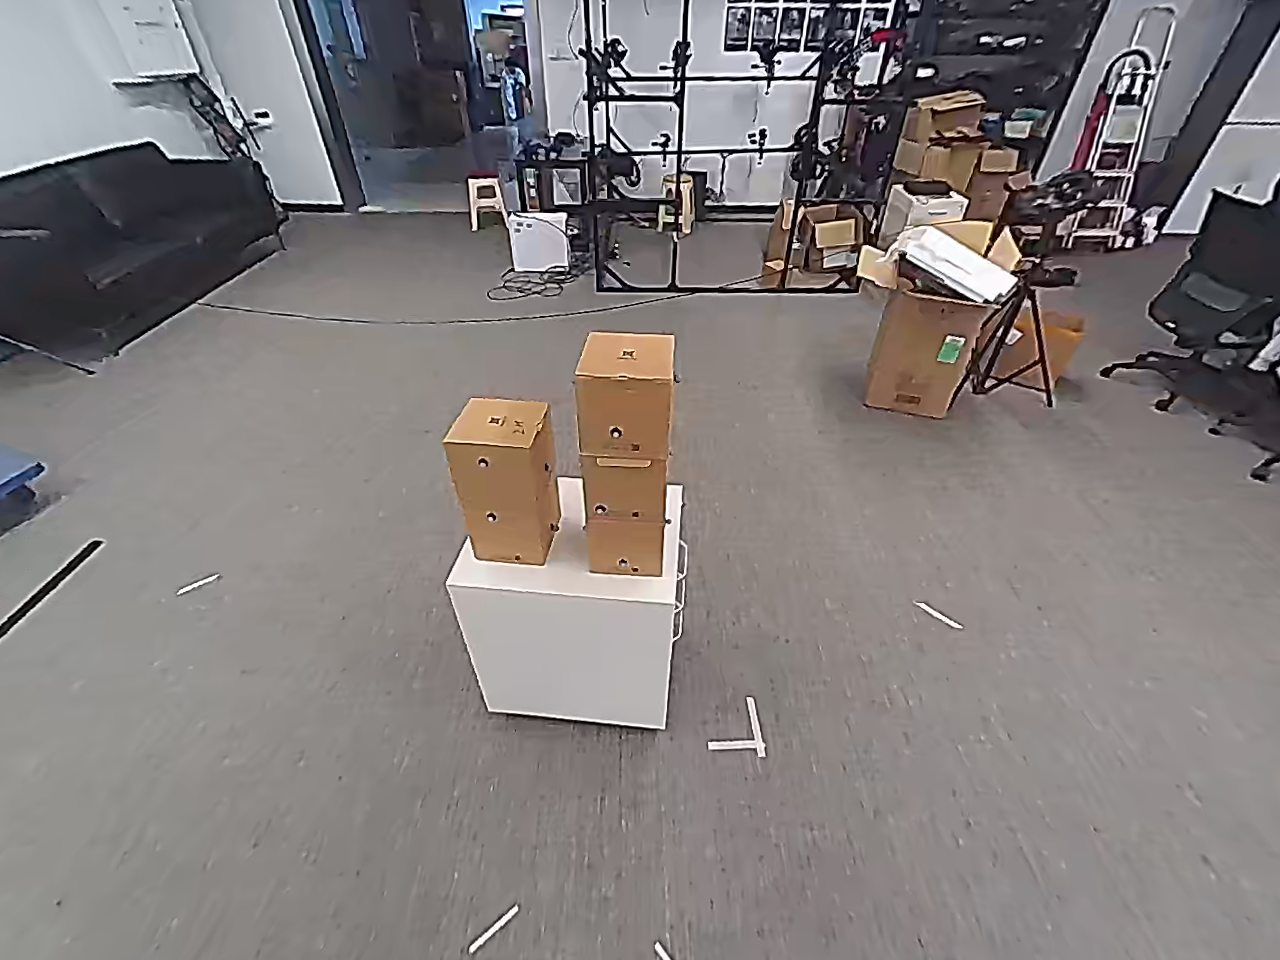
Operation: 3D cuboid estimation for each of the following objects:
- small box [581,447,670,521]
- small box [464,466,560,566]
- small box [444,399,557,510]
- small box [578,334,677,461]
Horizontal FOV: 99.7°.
[{"bbox_3d":[-0.022,-0.032,1.120,0.168,0.176,0.179,3,39,3],"label":"small box"},{"bbox_3d":[-0.283,0.072,1.246,0.168,0.176,0.179,5,38,5],"label":"small box"},{"bbox_3d":[-0.282,-0.053,1.138,0.179,0.176,0.168,5,40,4],"label":"small box"},{"bbox_3d":[-0.020,-0.157,1.015,0.168,0.176,0.179,3,40,3],"label":"small box"}]
